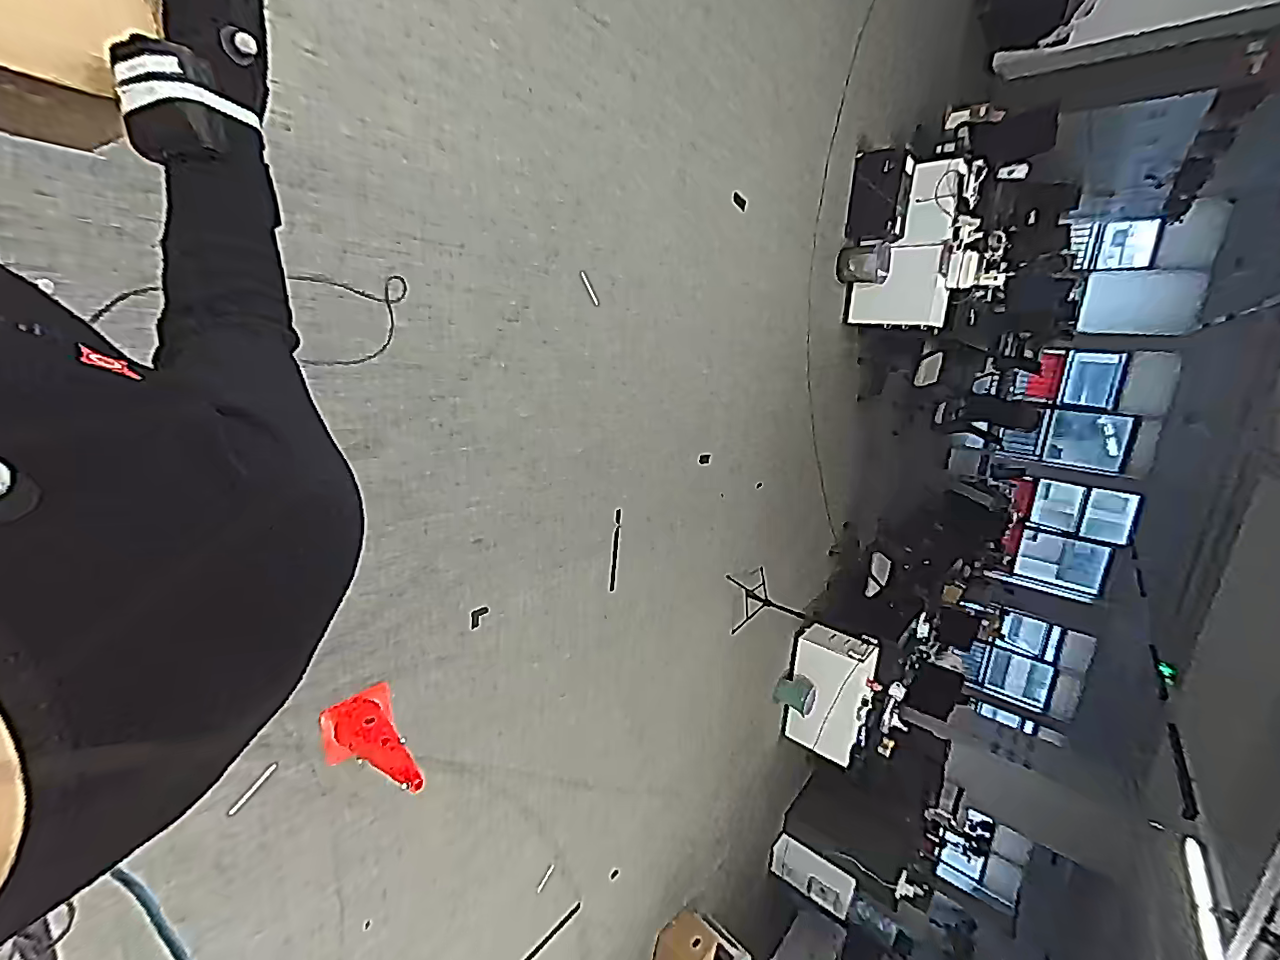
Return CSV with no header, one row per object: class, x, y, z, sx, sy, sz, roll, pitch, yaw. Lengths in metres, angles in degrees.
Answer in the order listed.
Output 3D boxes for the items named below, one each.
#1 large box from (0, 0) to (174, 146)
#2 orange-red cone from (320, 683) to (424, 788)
large box,-0.568,-0.424,0.289,0.408,0.320,0.320,-14,116,-52
orange-red cone,-0.735,0.774,1.551,0.198,0.360,0.199,-17,114,-49
